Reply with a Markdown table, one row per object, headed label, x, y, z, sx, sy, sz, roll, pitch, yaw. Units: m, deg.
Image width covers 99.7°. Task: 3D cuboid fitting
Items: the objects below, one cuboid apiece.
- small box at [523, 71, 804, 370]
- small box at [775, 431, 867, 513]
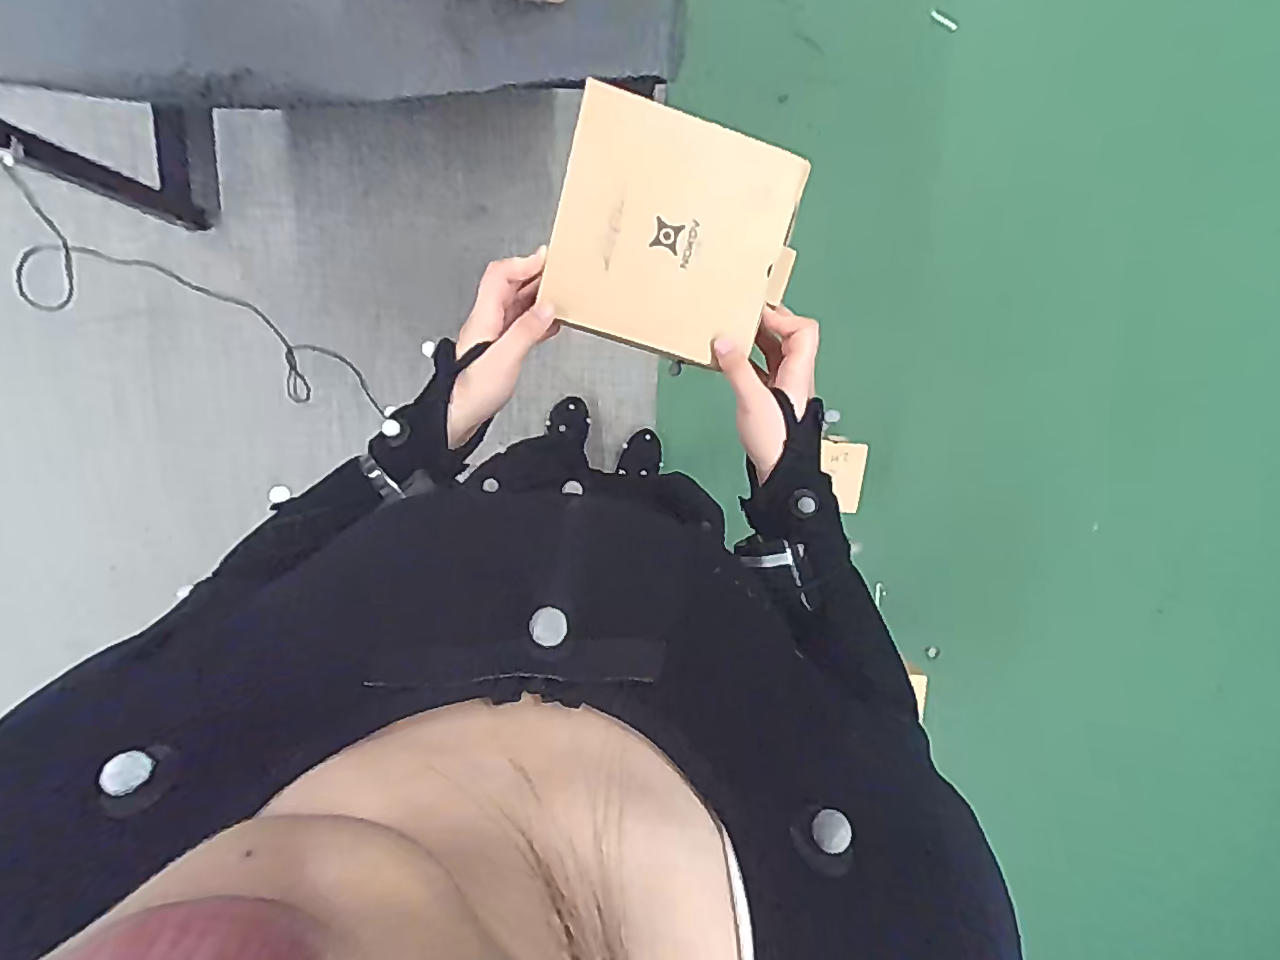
| label | x | y | z | sx | sy | sz | roll | pitch | yaw |
| --- | --- | --- | --- | --- | --- | --- | --- | --- | --- |
| small box | 0.010 | -0.203 | 0.475 | 0.179 | 0.176 | 0.168 | 14 | 101 | -8 |
| small box | 0.459 | -0.026 | 1.399 | 0.168 | 0.176 | 0.179 | 8 | 98 | -2 |
